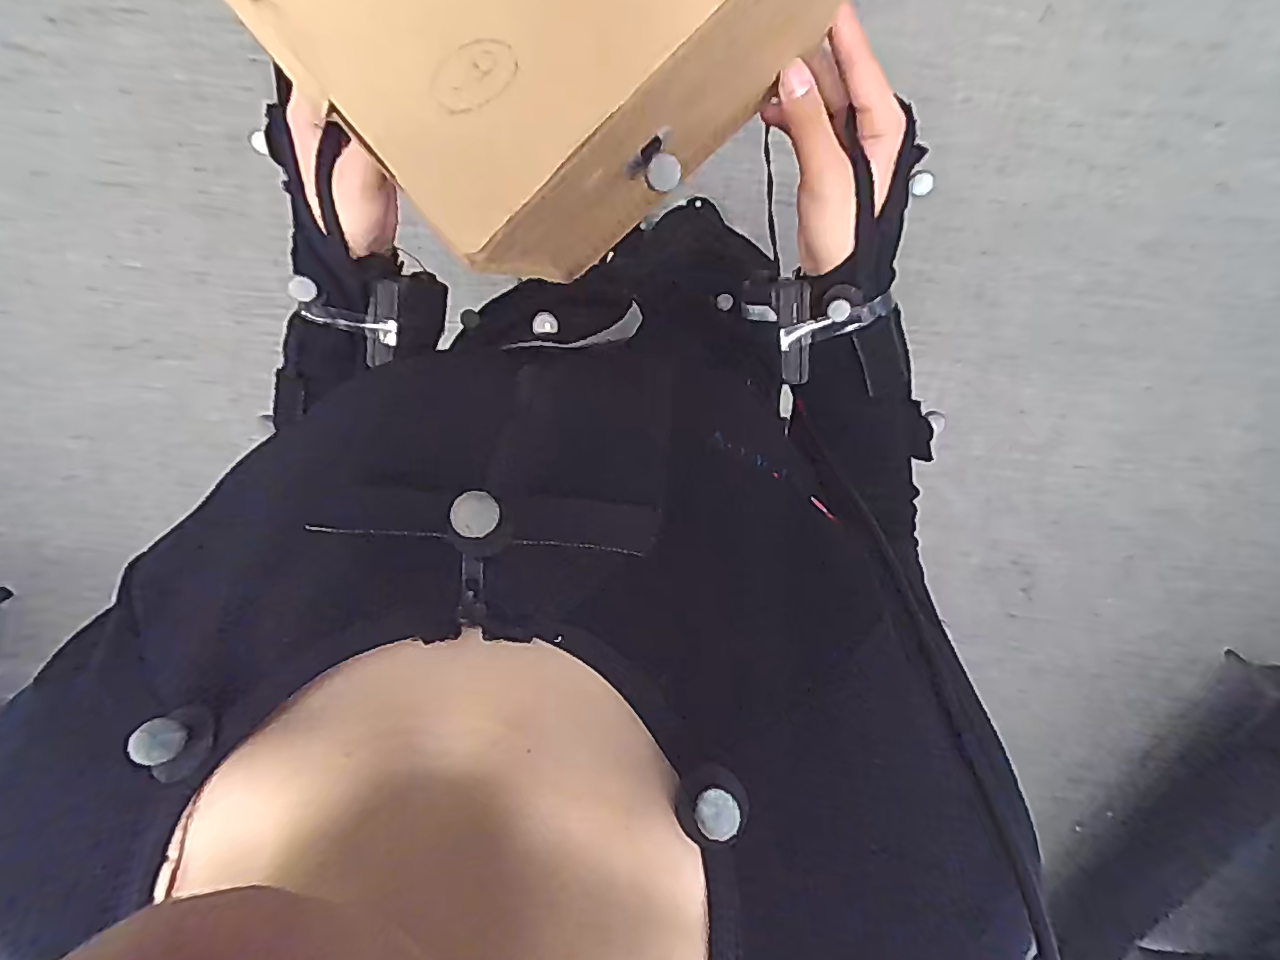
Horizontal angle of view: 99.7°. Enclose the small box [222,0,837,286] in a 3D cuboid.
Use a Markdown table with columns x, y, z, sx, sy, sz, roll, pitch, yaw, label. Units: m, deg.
| x | y | z | sx | sy | sz | roll | pitch | yaw | label |
| --- | --- | --- | --- | --- | --- | --- | --- | --- | --- |
| -0.032 | -0.197 | 0.217 | 0.179 | 0.176 | 0.168 | -37 | 101 | 15 | small box |
